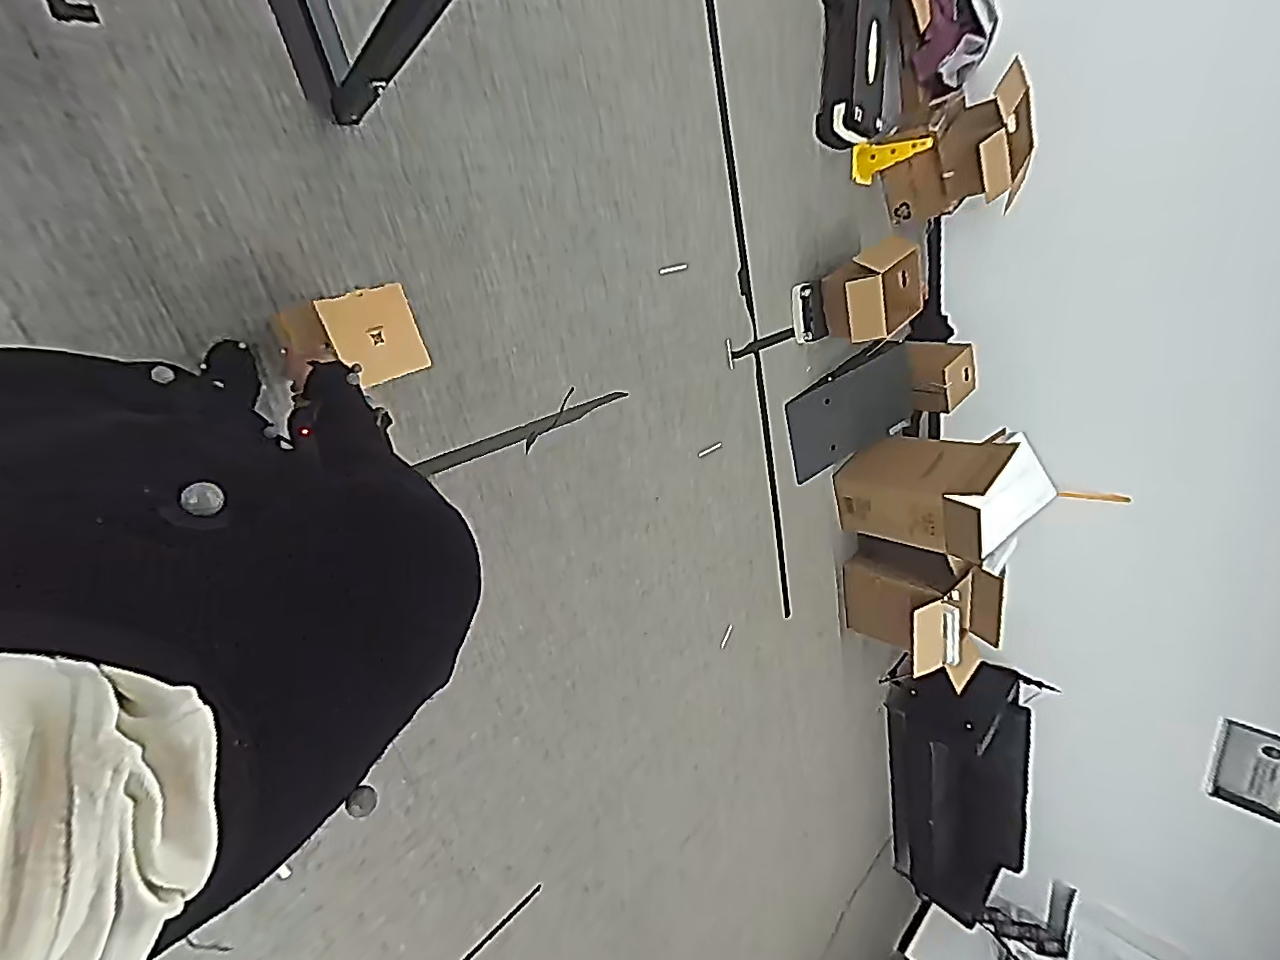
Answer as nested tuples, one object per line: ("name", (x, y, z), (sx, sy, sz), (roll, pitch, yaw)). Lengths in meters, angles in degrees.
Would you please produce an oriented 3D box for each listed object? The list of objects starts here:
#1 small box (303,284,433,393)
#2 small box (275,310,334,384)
("small box", (-0.563, -0.293, 1.120), (0.168, 0.176, 0.179), (-31, 118, -32))
("small box", (-0.780, -0.349, 1.358), (0.179, 0.176, 0.168), (-29, 117, -33))
